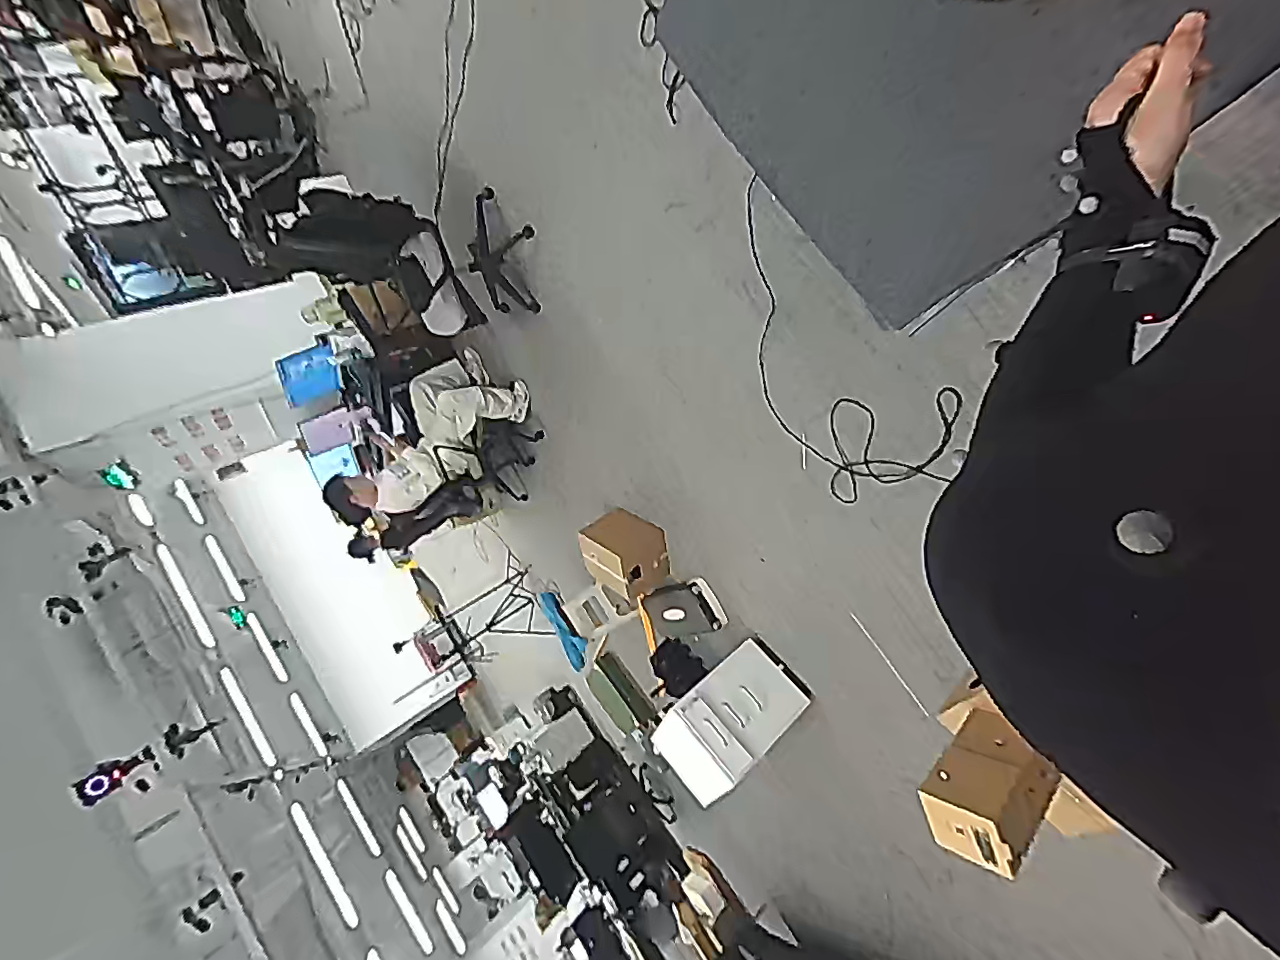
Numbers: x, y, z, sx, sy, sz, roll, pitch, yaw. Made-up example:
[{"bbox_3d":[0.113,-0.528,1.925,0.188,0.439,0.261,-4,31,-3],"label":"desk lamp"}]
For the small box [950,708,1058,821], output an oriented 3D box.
[{"bbox_3d":[0.944,0.721,1.394,0.179,0.176,0.168,-9,107,55],"label":"small box"}]
